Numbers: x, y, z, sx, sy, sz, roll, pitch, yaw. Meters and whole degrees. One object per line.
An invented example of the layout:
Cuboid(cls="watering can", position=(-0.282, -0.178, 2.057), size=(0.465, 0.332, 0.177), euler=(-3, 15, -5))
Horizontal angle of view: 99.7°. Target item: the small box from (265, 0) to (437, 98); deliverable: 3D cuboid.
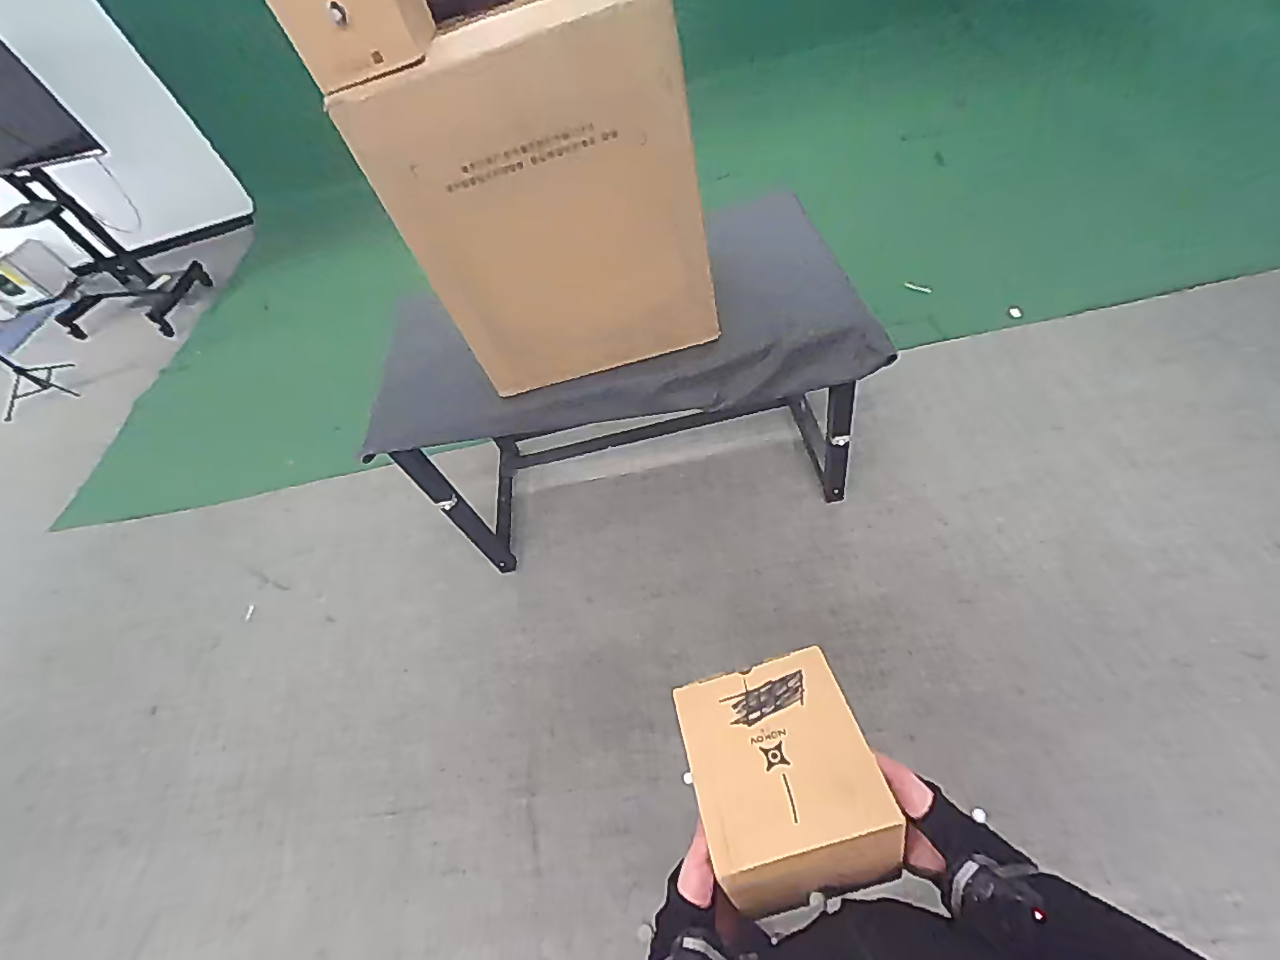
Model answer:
Cuboid(cls="small box", position=(-0.421, -0.699, 0.798), size=(0.168, 0.176, 0.179), euler=(-14, 52, 7))
